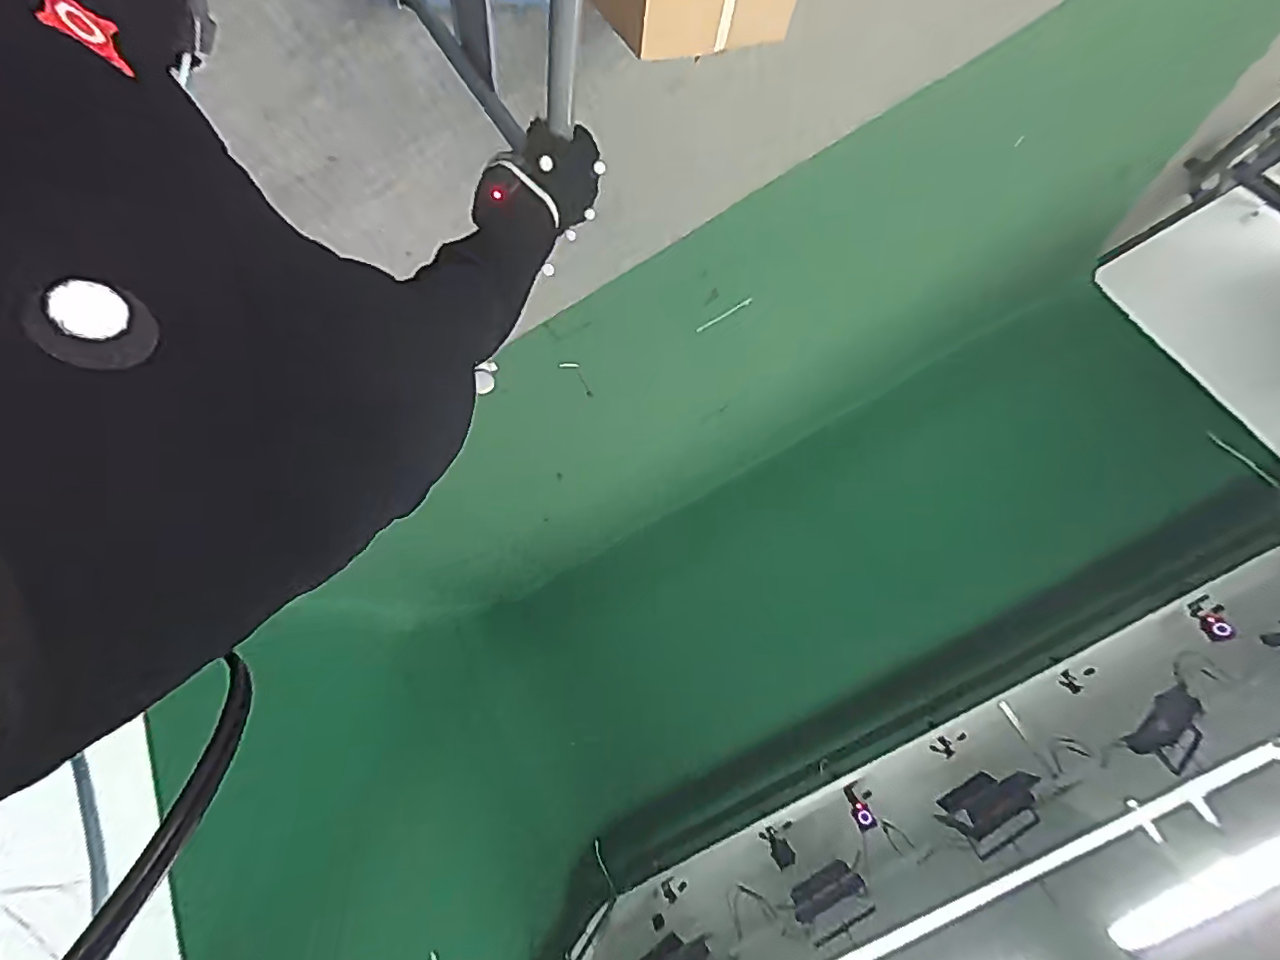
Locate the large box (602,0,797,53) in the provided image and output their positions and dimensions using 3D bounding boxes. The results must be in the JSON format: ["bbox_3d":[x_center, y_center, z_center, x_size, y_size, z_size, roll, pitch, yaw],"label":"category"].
[{"bbox_3d":[0.094,-0.991,0.841,0.320,0.320,0.408,-23,159,-17],"label":"large box"}]
